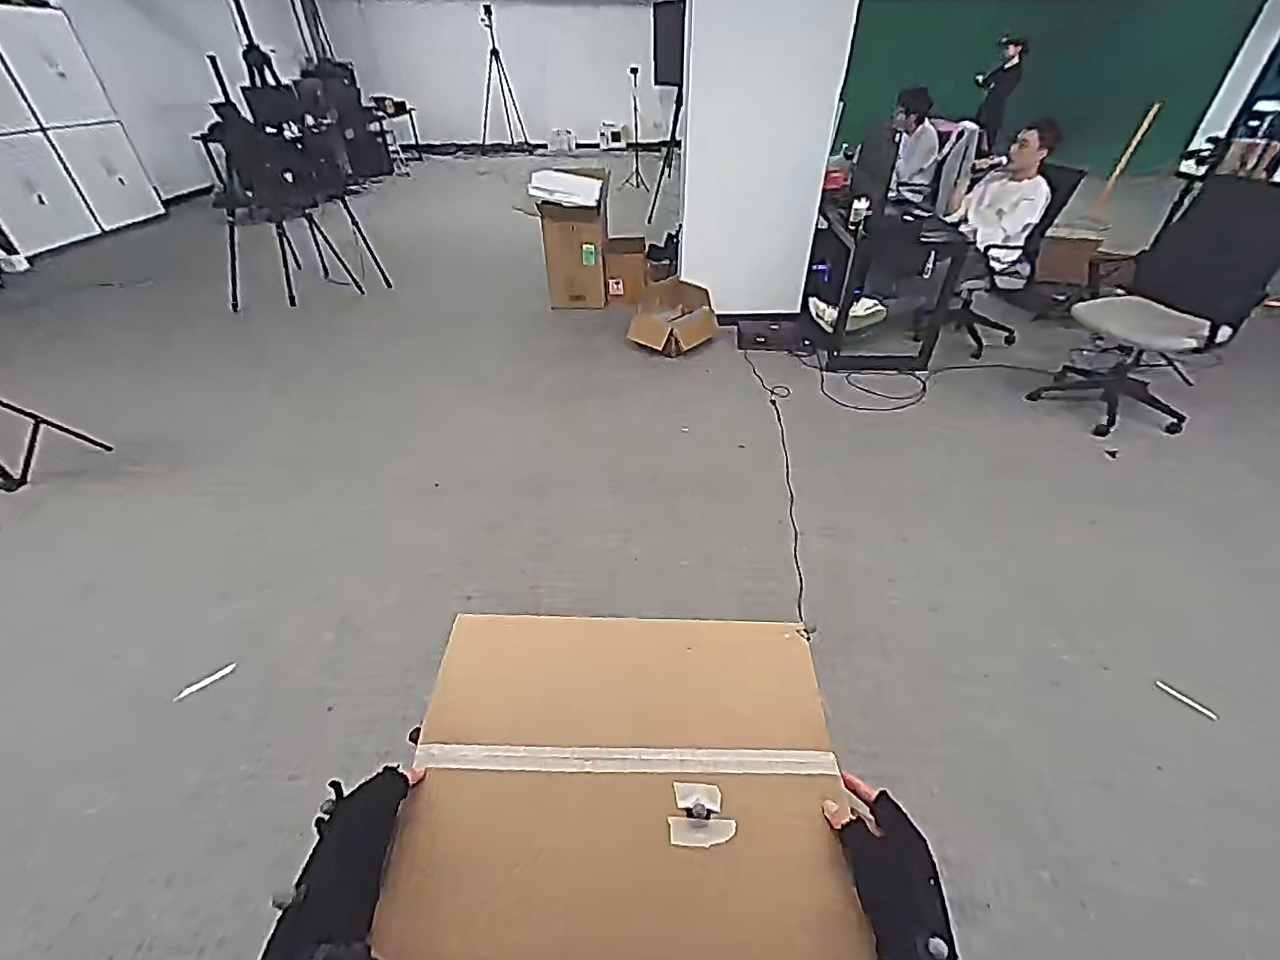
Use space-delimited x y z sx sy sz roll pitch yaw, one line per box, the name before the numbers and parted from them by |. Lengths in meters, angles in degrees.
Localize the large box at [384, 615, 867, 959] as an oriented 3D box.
large box | -0.016 0.380 0.645 0.408 0.320 0.320 2 45 -1
